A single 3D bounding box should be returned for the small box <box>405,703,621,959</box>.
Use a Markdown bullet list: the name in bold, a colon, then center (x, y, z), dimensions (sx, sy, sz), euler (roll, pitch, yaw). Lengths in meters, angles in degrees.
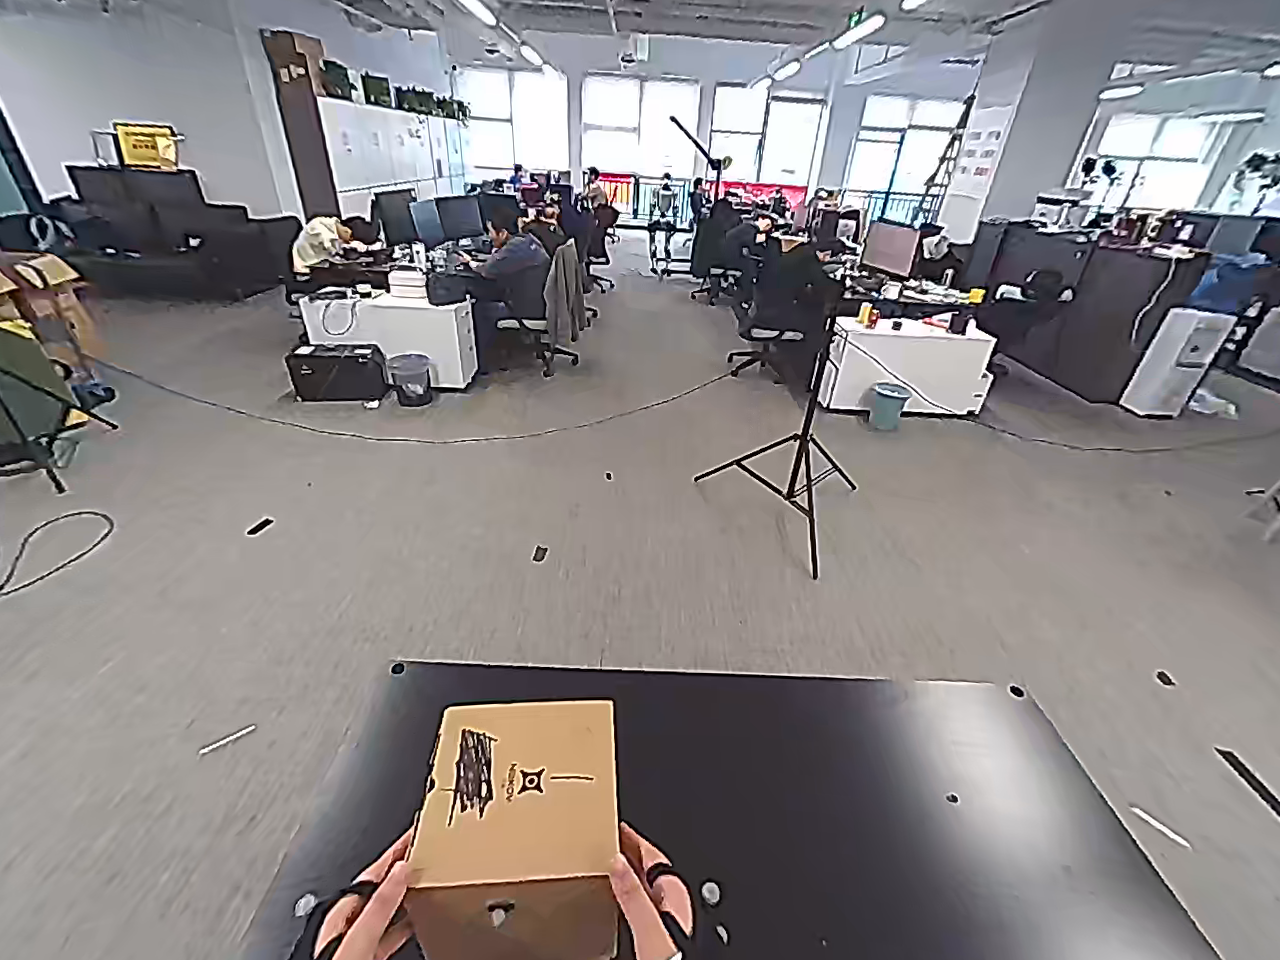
- **small box**: center (-0.110, 0.349, 0.540), dimensions (0.179, 0.176, 0.168), euler (0, 31, -6)
